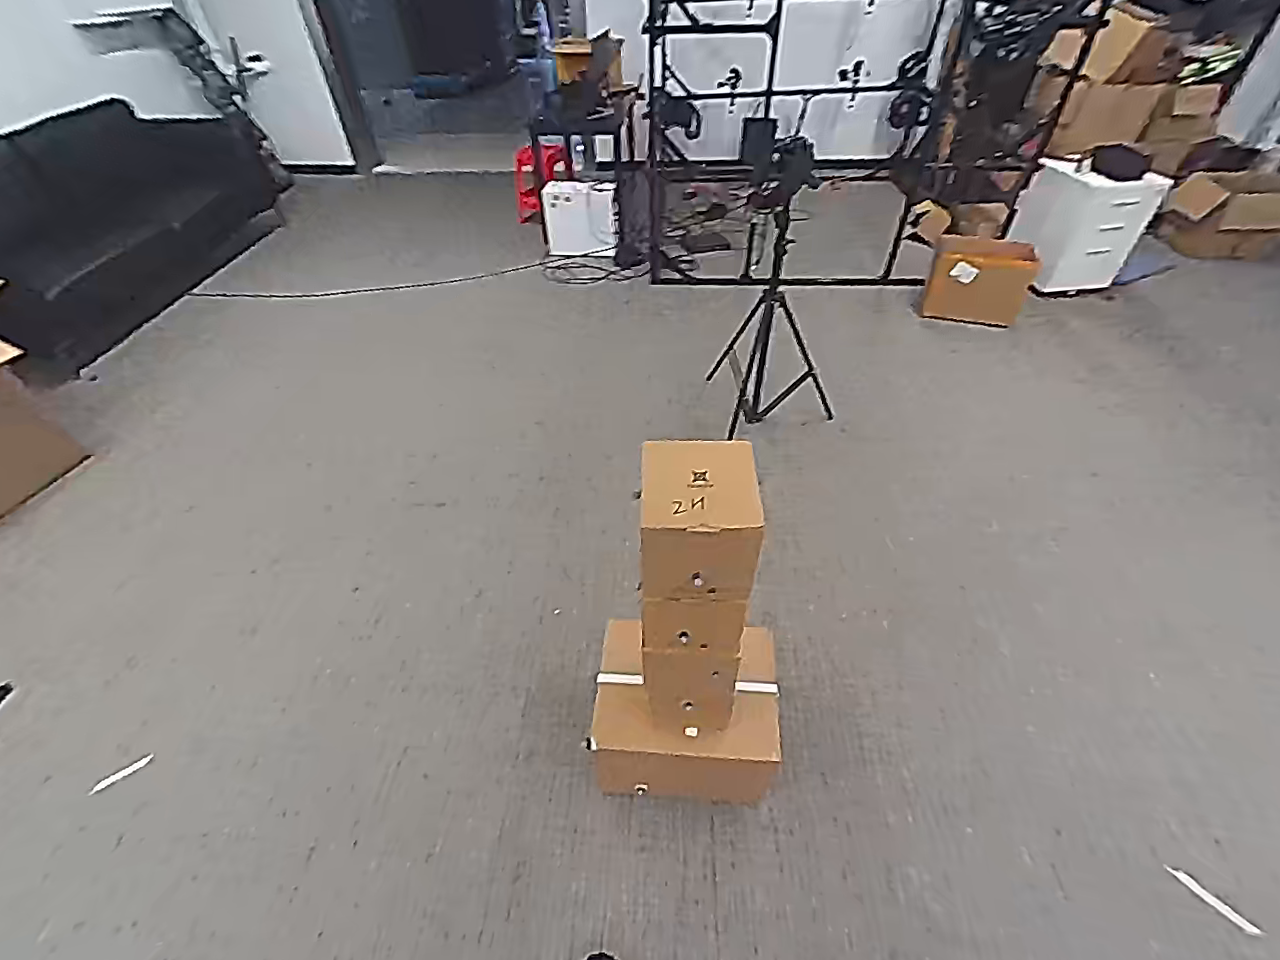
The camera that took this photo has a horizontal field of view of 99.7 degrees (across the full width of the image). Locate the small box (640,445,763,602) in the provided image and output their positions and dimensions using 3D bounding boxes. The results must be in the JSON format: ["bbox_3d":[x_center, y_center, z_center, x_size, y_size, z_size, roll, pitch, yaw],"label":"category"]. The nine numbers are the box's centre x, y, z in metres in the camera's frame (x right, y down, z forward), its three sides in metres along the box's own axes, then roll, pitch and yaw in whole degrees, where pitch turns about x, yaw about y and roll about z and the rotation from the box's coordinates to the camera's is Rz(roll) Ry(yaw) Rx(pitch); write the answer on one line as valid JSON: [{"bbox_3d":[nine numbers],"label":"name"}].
[{"bbox_3d":[0.085,0.066,0.825,0.168,0.176,0.179,0,46,2],"label":"small box"}]

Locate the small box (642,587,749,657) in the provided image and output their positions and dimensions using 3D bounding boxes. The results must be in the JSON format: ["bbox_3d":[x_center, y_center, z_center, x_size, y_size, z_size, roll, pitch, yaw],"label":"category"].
[{"bbox_3d":[0.089,0.185,0.939,0.168,0.176,0.179,1,46,2],"label":"small box"}]

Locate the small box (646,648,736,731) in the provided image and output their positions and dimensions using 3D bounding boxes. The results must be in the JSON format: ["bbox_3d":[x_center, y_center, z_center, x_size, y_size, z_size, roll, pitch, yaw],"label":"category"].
[{"bbox_3d":[0.104,0.424,1.161,0.179,0.176,0.168,1,46,2],"label":"small box"}]
